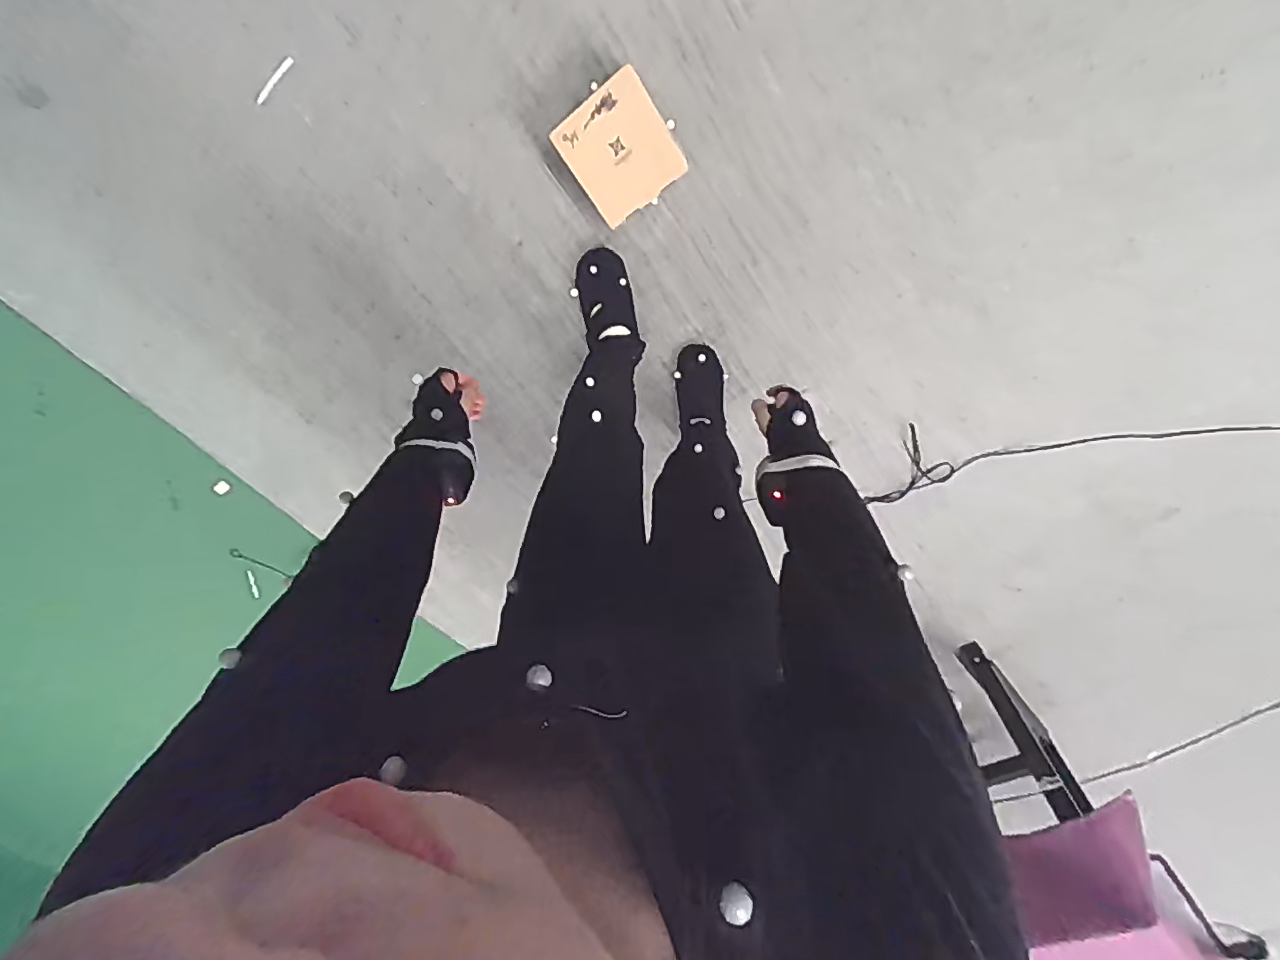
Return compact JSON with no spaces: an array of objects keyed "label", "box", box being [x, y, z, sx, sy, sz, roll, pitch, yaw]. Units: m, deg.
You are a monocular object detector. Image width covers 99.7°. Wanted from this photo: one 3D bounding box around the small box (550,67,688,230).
[{"label":"small box","box":[-0.029,-0.578,0.948,0.168,0.176,0.179,-29,118,20]}]
